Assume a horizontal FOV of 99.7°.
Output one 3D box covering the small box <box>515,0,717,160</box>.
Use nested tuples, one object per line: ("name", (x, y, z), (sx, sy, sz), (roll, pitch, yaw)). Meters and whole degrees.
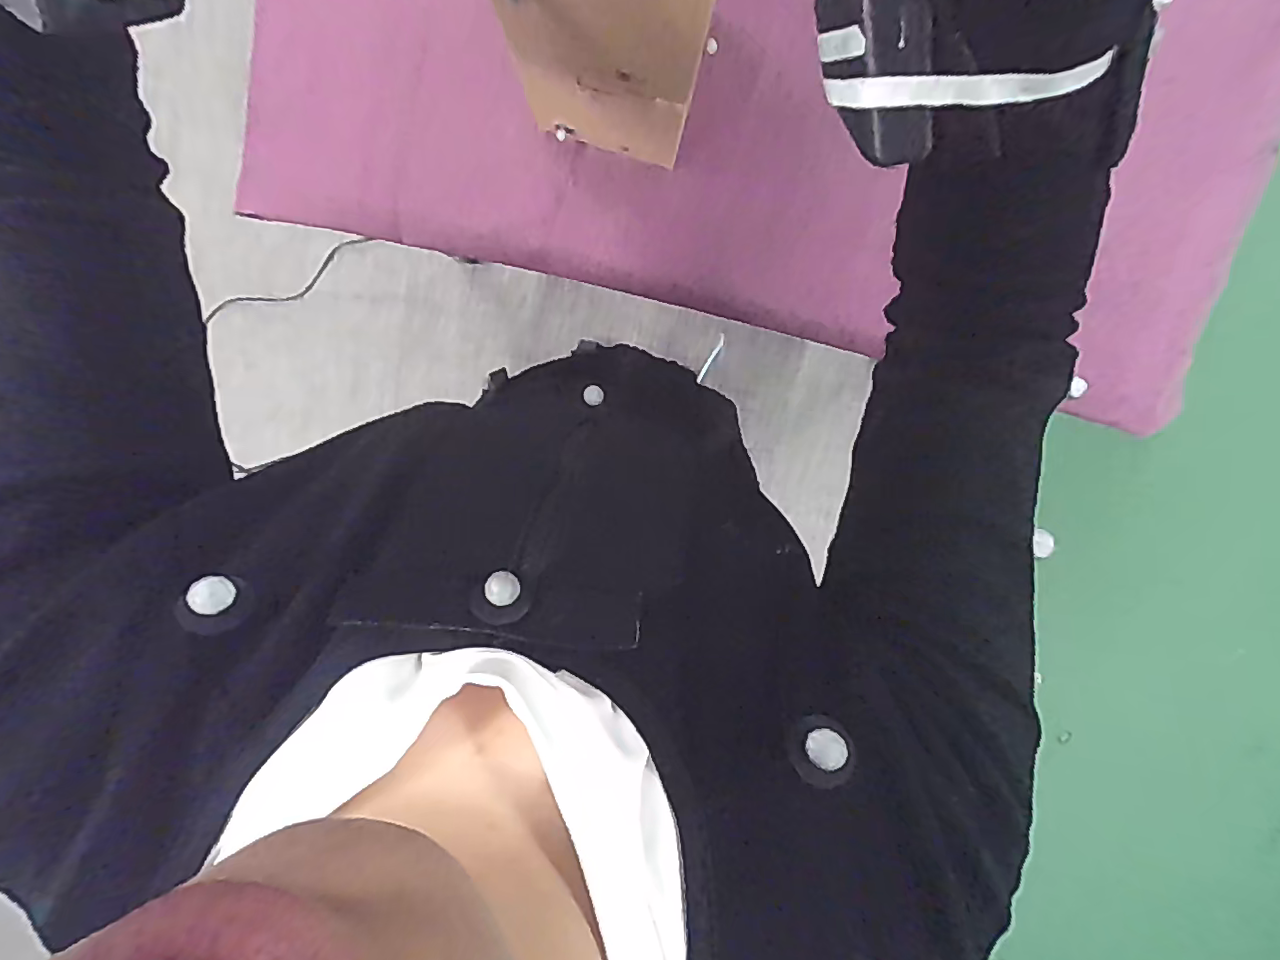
("small box", (-0.014, -0.463, 0.554), (0.168, 0.176, 0.179), (14, 102, -4))
